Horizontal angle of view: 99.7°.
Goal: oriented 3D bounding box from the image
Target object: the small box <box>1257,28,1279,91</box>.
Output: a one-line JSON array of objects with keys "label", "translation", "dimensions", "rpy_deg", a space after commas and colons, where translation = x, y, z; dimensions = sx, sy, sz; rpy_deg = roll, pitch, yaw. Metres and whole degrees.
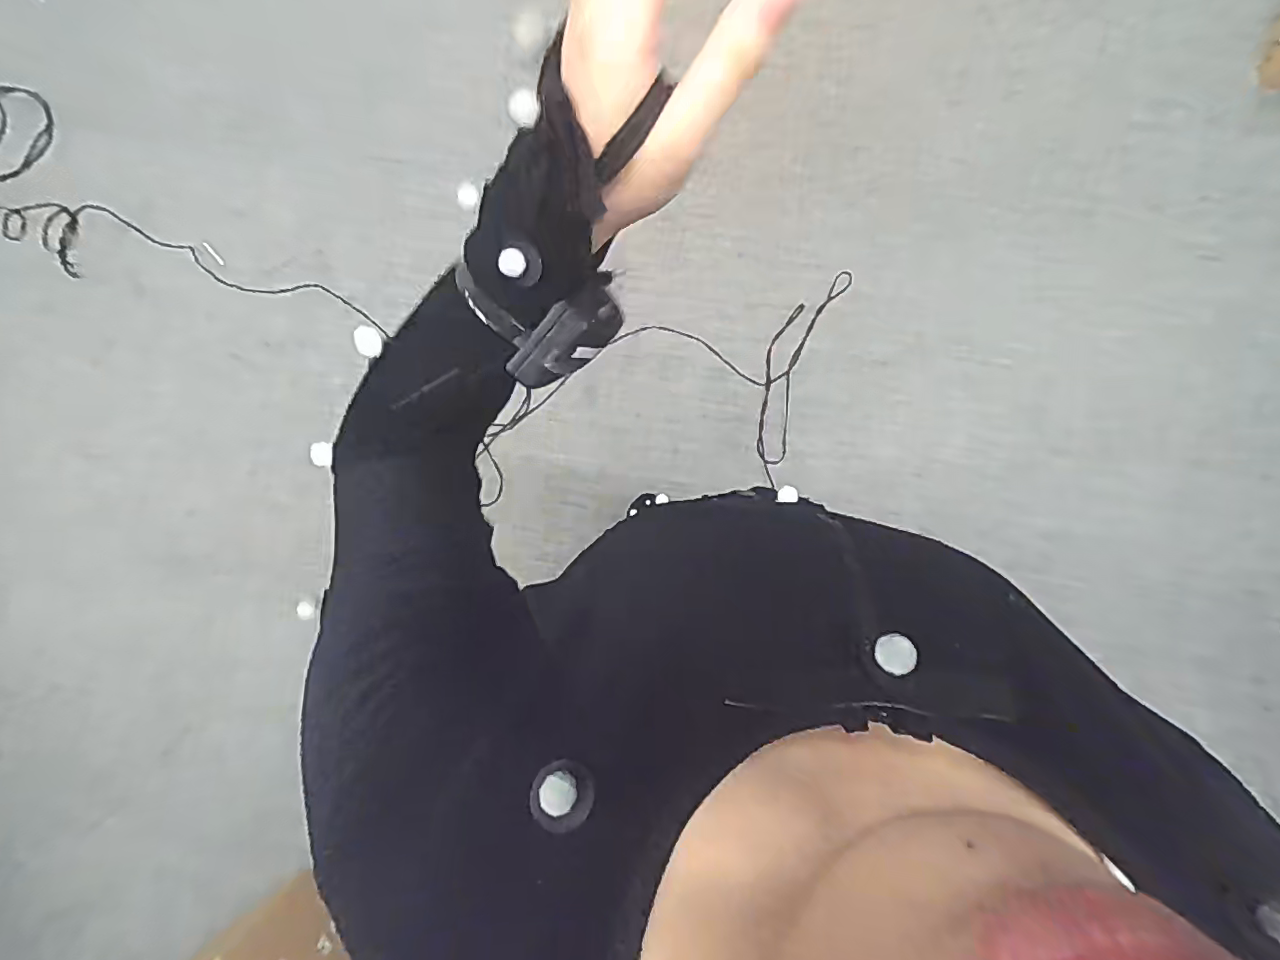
[{"label": "small box", "translation": [1.766, -1.123, 1.378], "dimensions": [0.179, 0.176, 0.168], "rpy_deg": [13, 88, 4]}]
